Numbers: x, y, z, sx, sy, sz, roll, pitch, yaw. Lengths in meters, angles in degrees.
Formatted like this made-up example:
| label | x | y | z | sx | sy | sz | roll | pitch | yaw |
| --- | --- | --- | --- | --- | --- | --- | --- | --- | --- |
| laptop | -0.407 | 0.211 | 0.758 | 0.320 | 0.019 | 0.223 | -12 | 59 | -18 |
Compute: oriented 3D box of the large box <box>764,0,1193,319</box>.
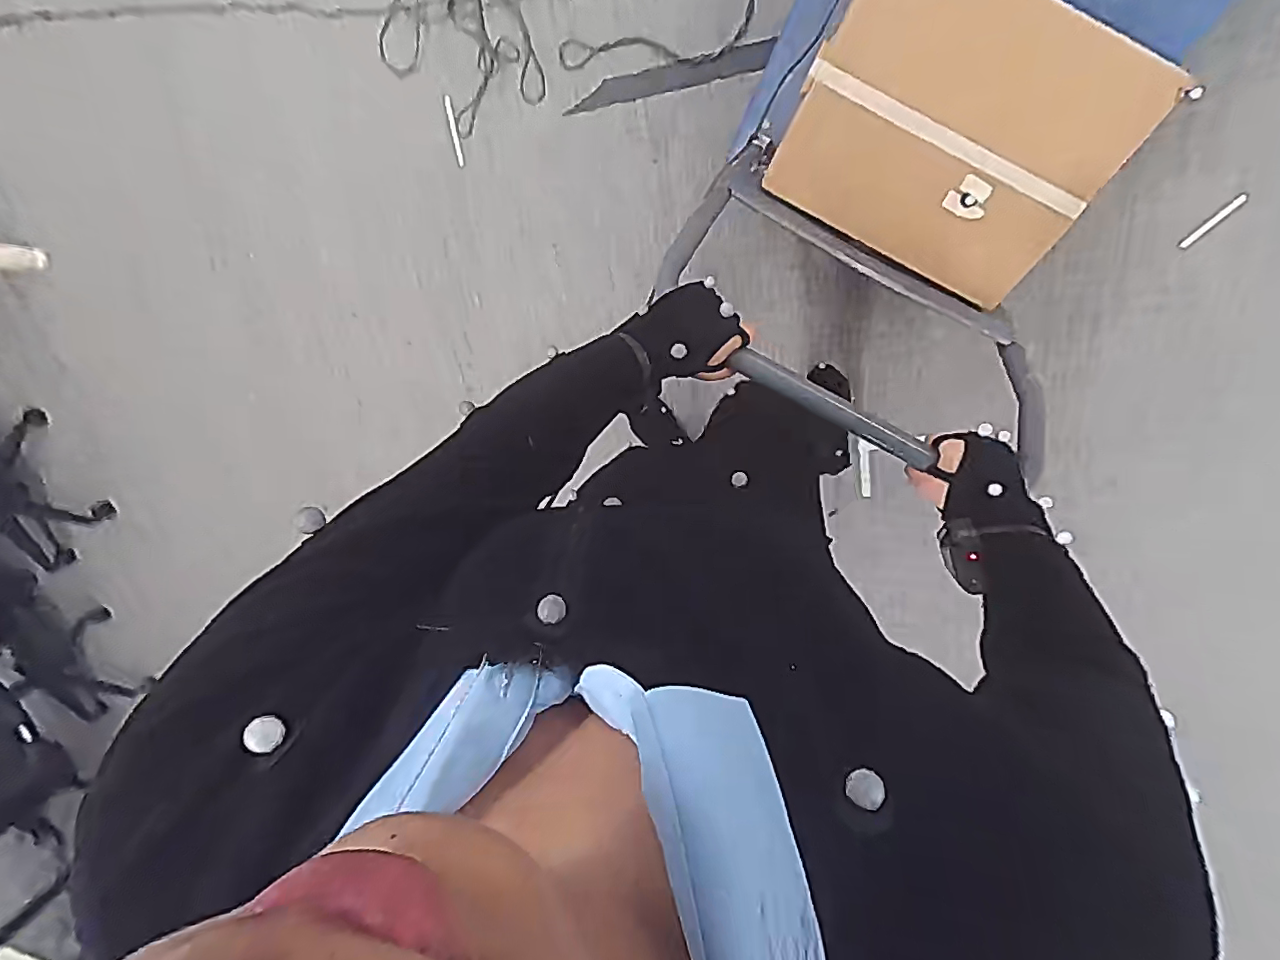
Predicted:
| label | x | y | z | sx | sy | sz | roll | pitch | yaw |
| --- | --- | --- | --- | --- | --- | --- | --- | --- | --- |
| large box | 0.452 | -0.519 | 0.832 | 0.408 | 0.320 | 0.320 | 27 | 131 | -2 |
